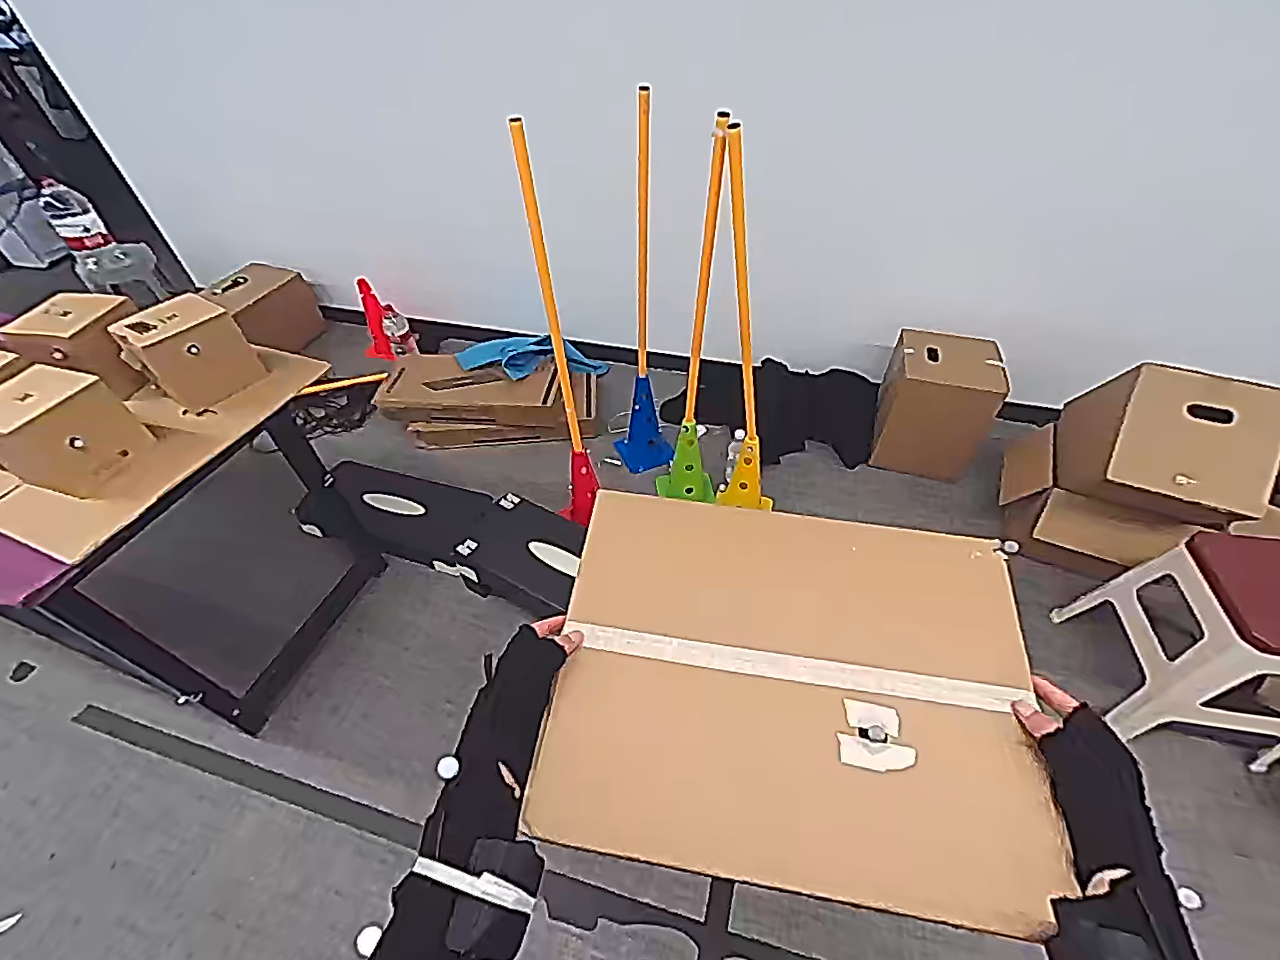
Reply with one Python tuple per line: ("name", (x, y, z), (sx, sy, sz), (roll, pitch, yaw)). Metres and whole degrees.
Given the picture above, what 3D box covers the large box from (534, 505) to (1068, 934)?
("large box", (0.132, 0.257, 0.605), (0.408, 0.320, 0.320), (8, 57, 5))
